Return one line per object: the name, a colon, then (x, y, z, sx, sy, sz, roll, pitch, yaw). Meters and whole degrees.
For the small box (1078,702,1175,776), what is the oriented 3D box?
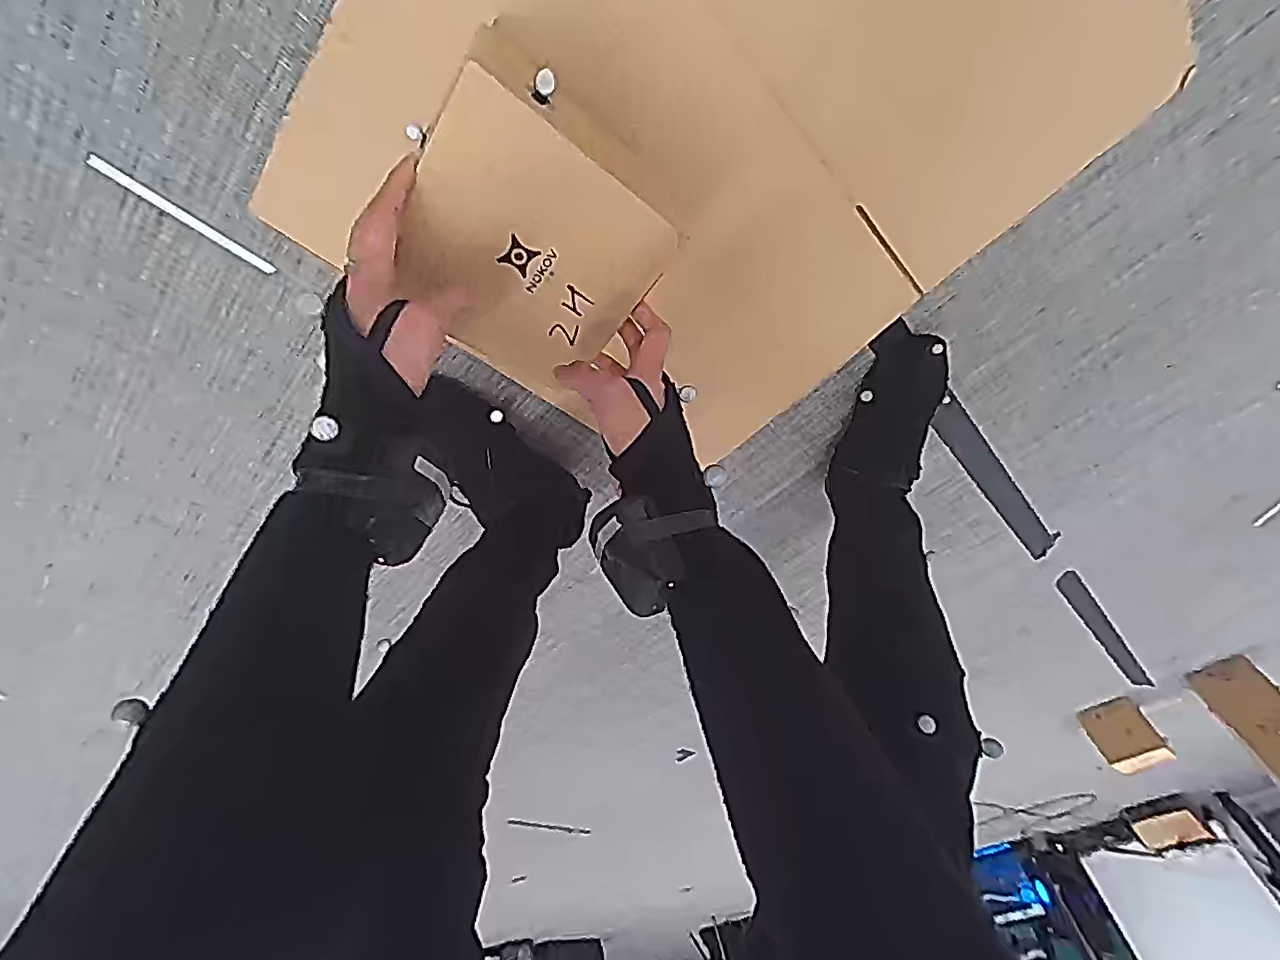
small box: (1.629, 0.868, 1.819, 0.179, 0.176, 0.168, 30, 122, -32)

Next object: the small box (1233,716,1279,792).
small box: (1.884, 0.794, 1.561, 0.168, 0.176, 0.179, -38, 127, 24)

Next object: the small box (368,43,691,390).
small box: (-0.090, -0.214, 0.445, 0.179, 0.176, 0.168, 26, 125, -33)
